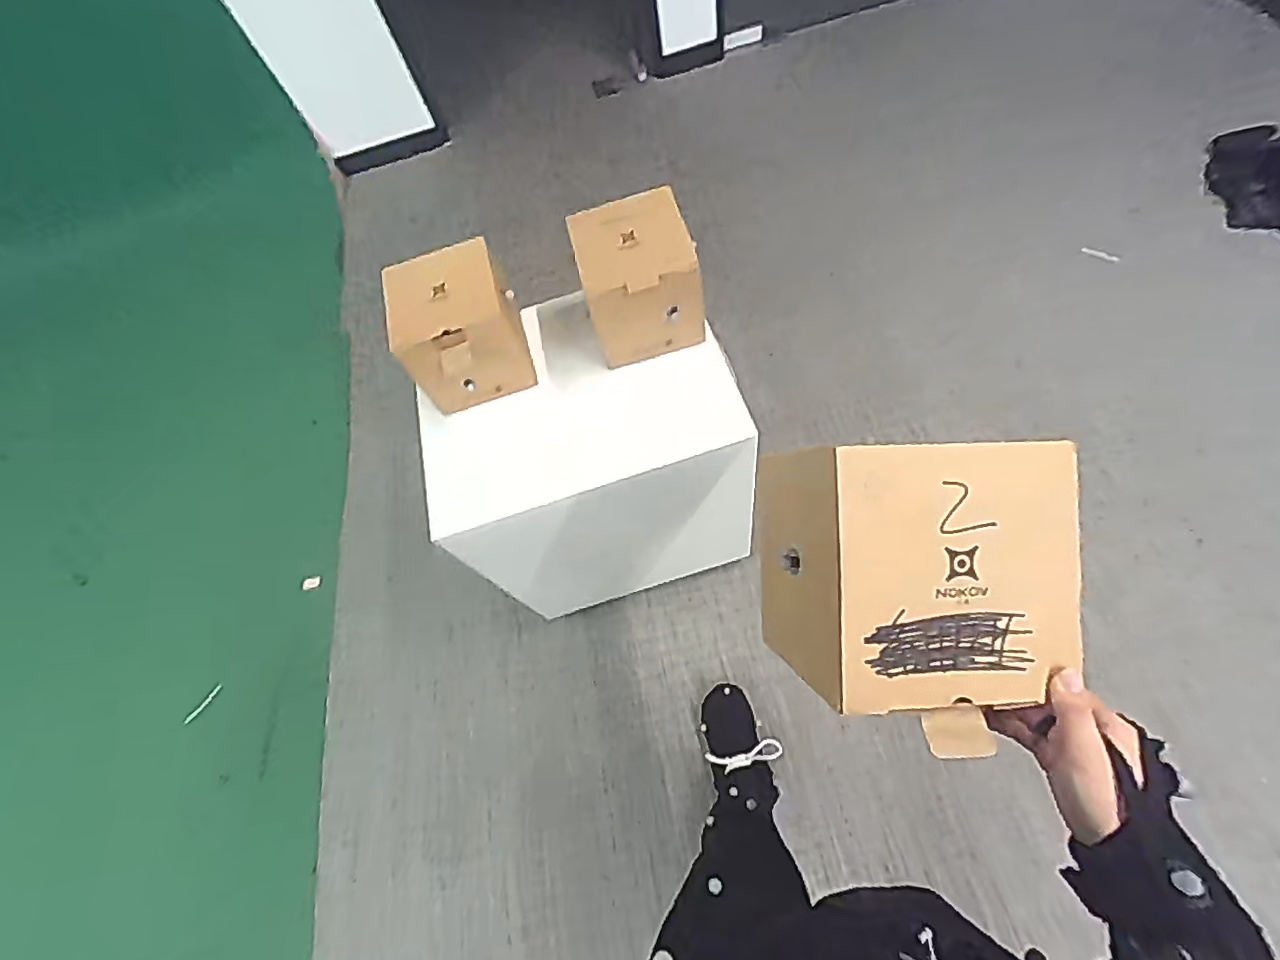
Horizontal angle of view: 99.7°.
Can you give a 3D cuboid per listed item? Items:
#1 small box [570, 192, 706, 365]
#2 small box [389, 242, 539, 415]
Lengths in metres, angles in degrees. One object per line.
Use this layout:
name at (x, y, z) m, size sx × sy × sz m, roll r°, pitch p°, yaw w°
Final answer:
small box at (0.002, -0.302, 0.845) m, size 0.168 × 0.176 × 0.179 m, roll -15°, pitch 62°, yaw 2°
small box at (-0.274, -0.235, 0.862) m, size 0.168 × 0.176 × 0.179 m, roll -18°, pitch 63°, yaw 0°
